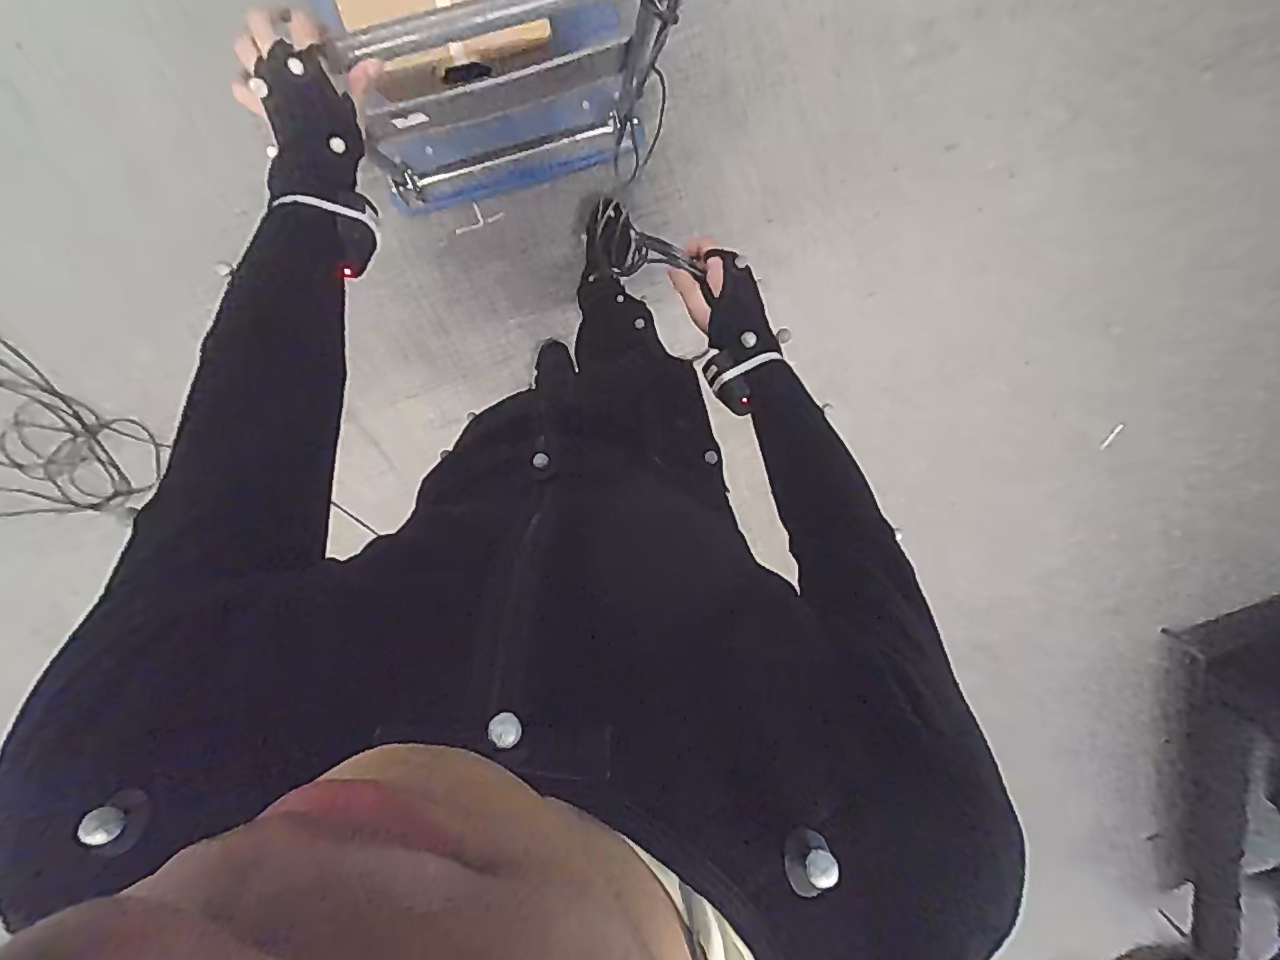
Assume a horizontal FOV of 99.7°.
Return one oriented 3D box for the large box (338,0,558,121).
[{"bbox_3d":[-0.346,-0.906,0.915,0.320,0.320,0.408,-15,112,-2],"label":"large box"}]
